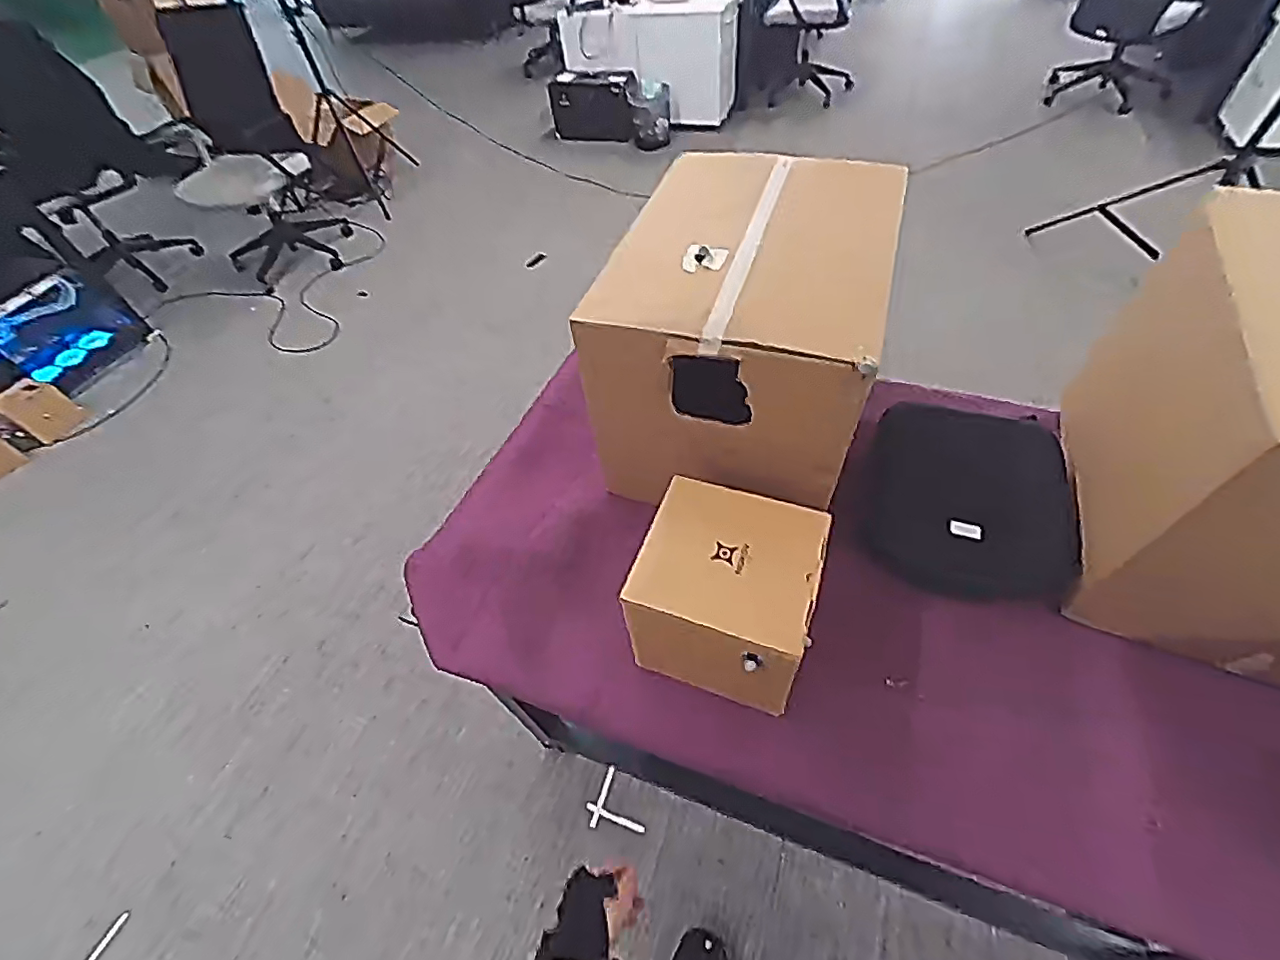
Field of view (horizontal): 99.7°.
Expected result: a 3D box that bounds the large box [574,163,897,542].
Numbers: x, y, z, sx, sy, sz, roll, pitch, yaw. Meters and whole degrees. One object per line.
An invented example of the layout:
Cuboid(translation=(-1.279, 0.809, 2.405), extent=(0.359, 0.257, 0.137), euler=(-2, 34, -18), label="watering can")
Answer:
Cuboid(translation=(0.144, -0.185, 0.760), extent=(0.320, 0.320, 0.408), euler=(12, 56, 16), label="large box")
